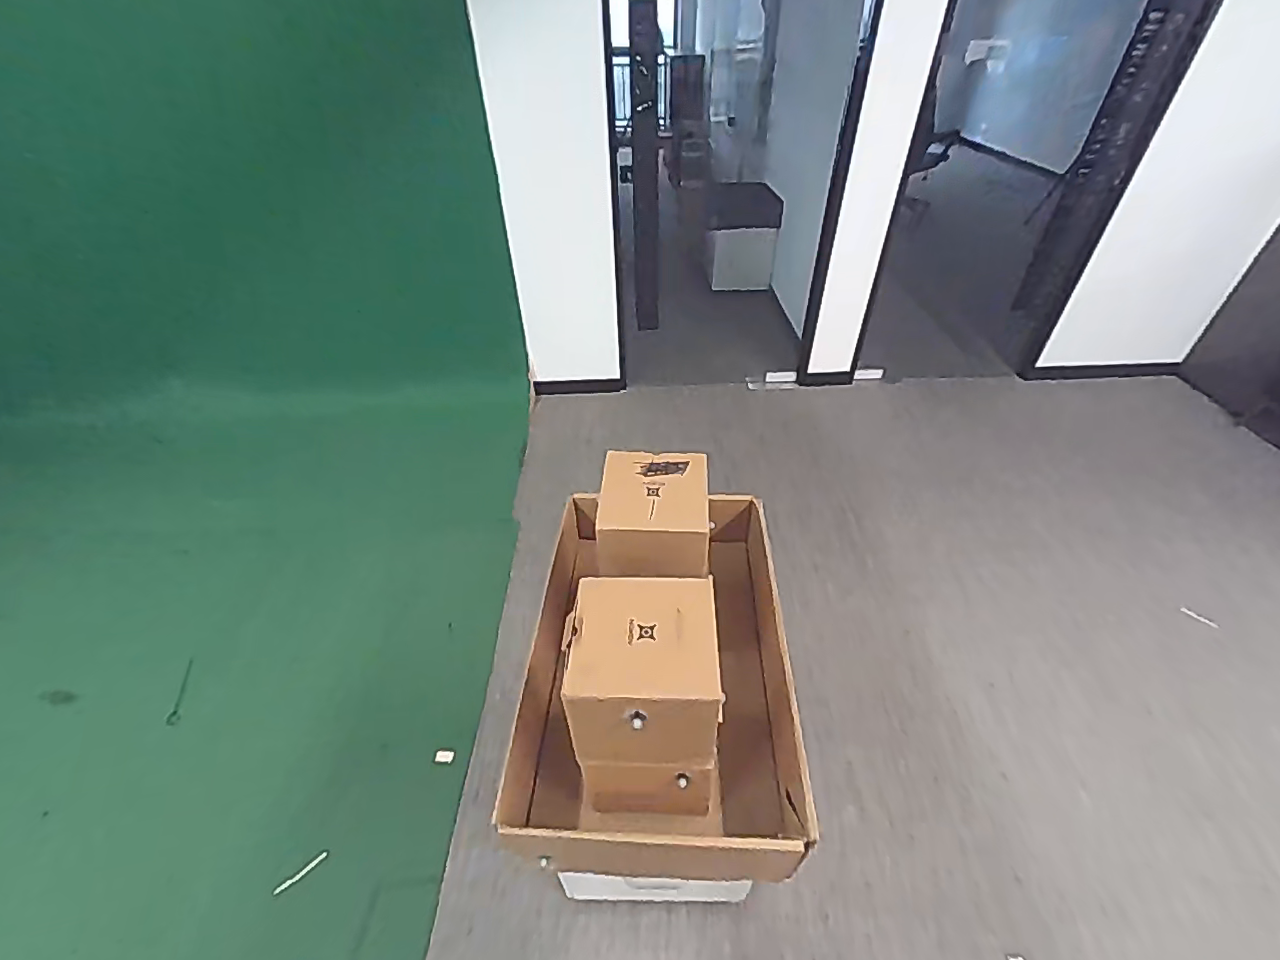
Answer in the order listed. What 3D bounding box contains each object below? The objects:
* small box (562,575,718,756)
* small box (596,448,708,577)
[{"bbox_3d":[0.004,0.241,0.702,0.179,0.176,0.168,1,42,2],"label":"small box"},{"bbox_3d":[0.022,0.069,0.890,0.168,0.176,0.179,3,44,4],"label":"small box"}]
